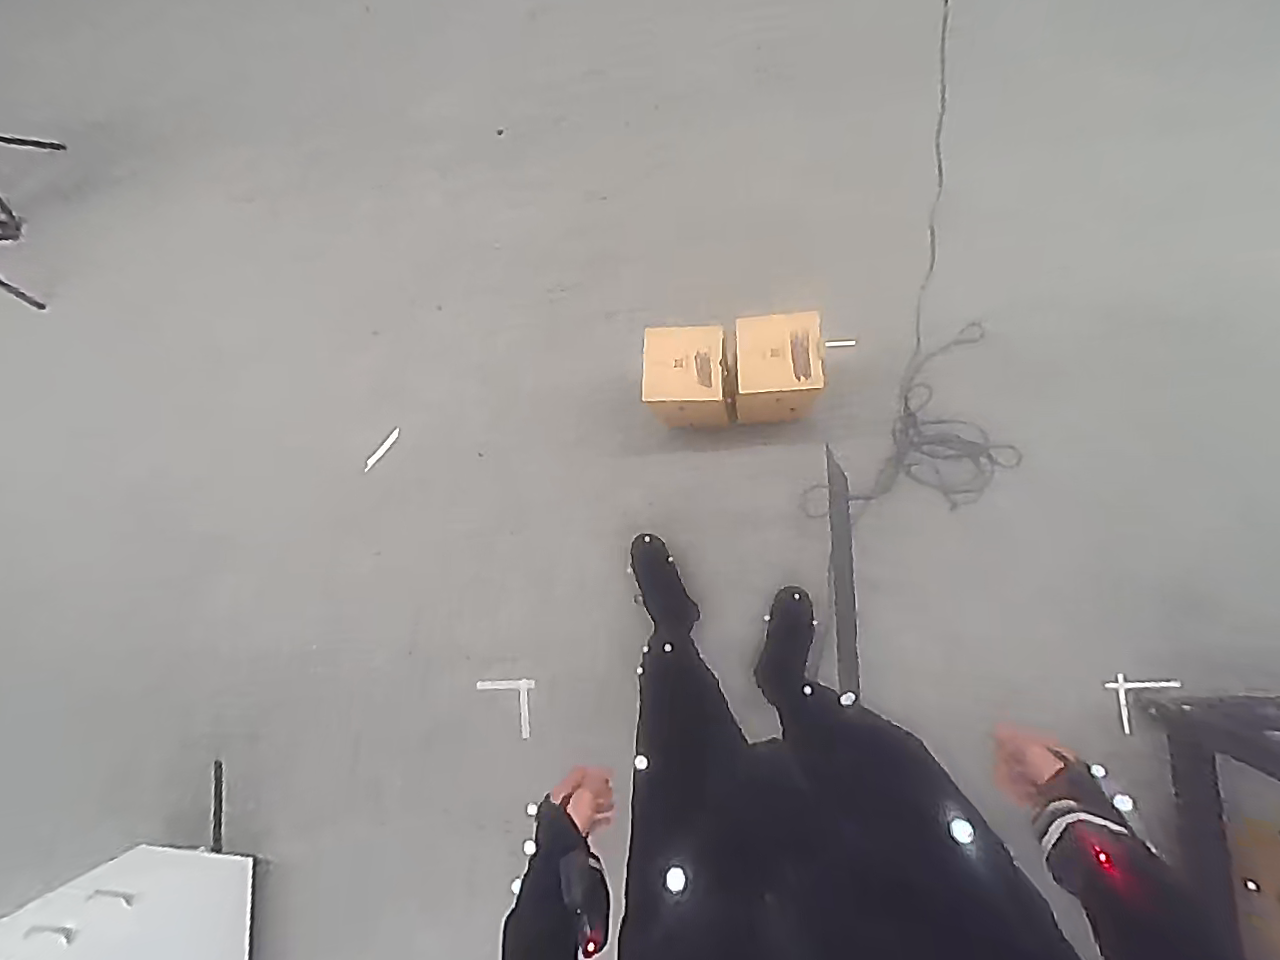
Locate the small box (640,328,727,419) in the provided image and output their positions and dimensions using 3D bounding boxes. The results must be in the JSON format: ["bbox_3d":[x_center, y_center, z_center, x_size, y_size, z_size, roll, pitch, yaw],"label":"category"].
[{"bbox_3d":[0.104,-0.236,1.228,0.179,0.176,0.168,1,85,13],"label":"small box"}]
